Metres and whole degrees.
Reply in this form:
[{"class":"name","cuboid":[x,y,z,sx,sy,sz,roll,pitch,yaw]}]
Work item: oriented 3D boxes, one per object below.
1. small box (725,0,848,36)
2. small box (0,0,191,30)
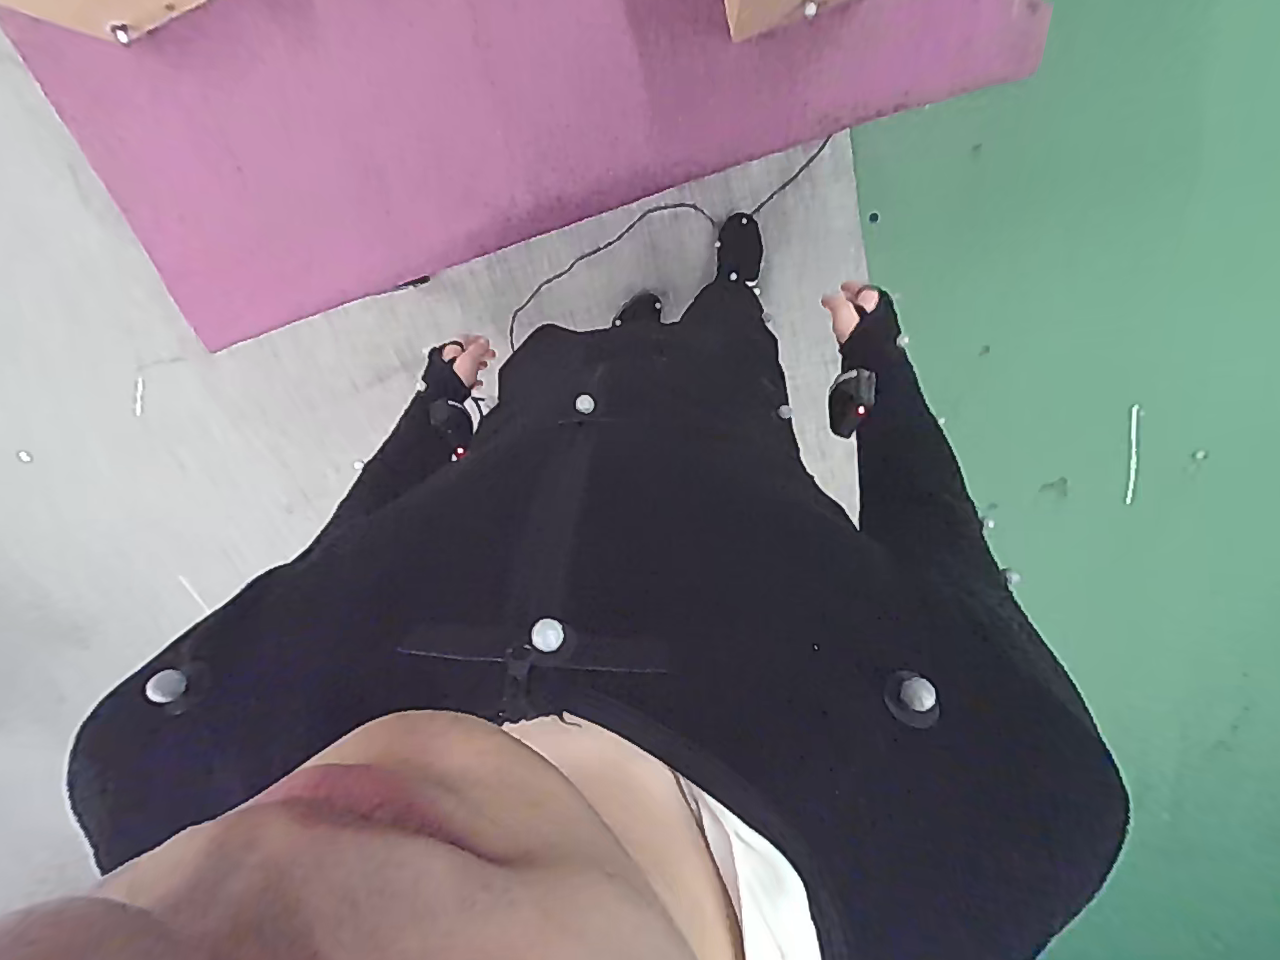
[{"class":"small box","cuboid":[0.159,-0.599,0.539,0.168,0.176,0.179,-13,111,11]},{"class":"small box","cuboid":[-0.636,-0.635,0.588,0.168,0.176,0.179,-16,111,10]}]
